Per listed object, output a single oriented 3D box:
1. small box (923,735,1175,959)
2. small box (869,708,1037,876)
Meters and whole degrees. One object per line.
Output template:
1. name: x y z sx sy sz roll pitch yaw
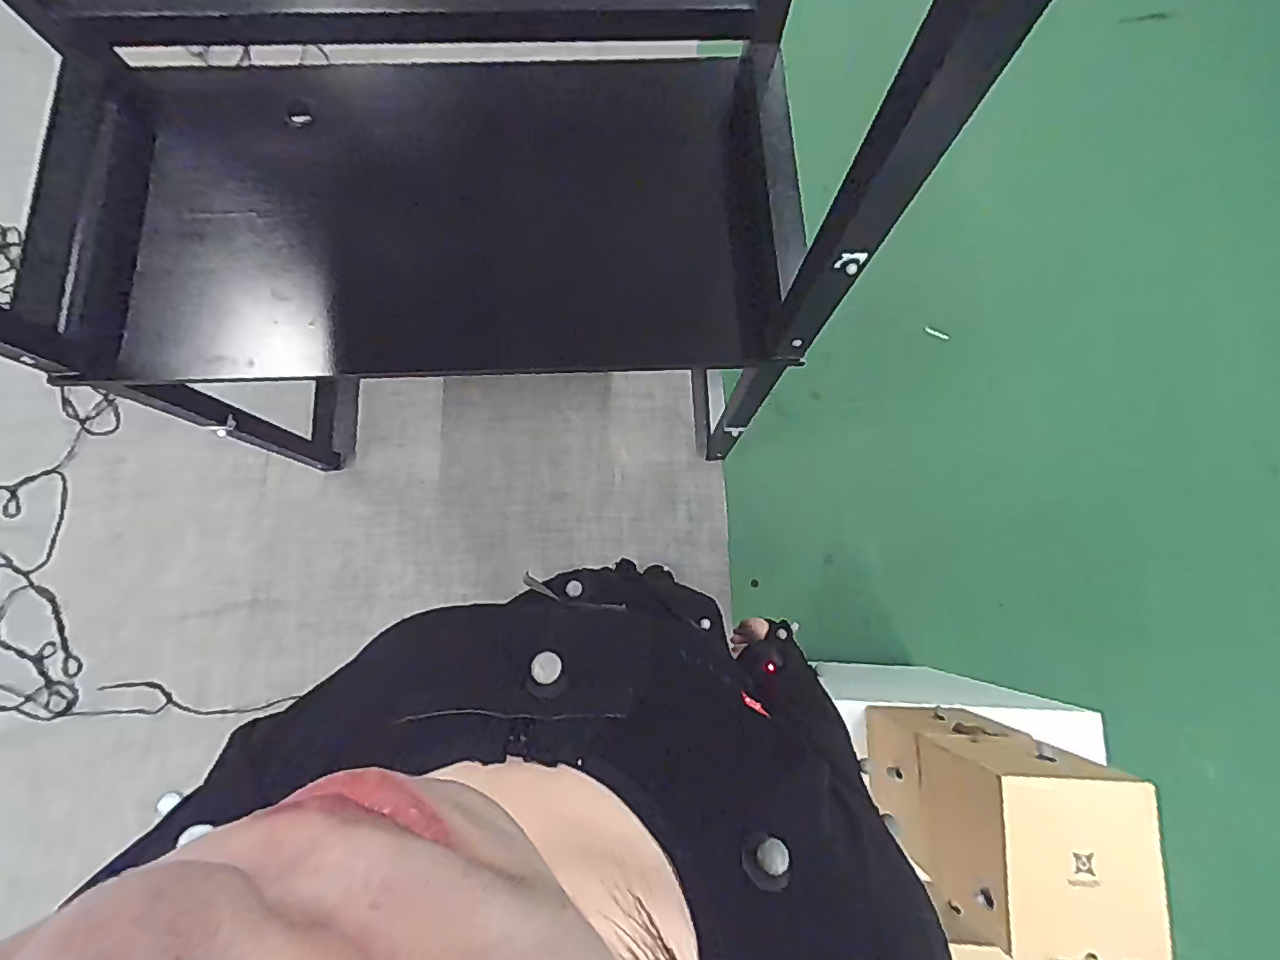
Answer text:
1. small box: 0.453 0.412 0.630 0.168 0.176 0.179 3 81 0
2. small box: 0.450 0.442 0.791 0.168 0.176 0.179 1 79 0
